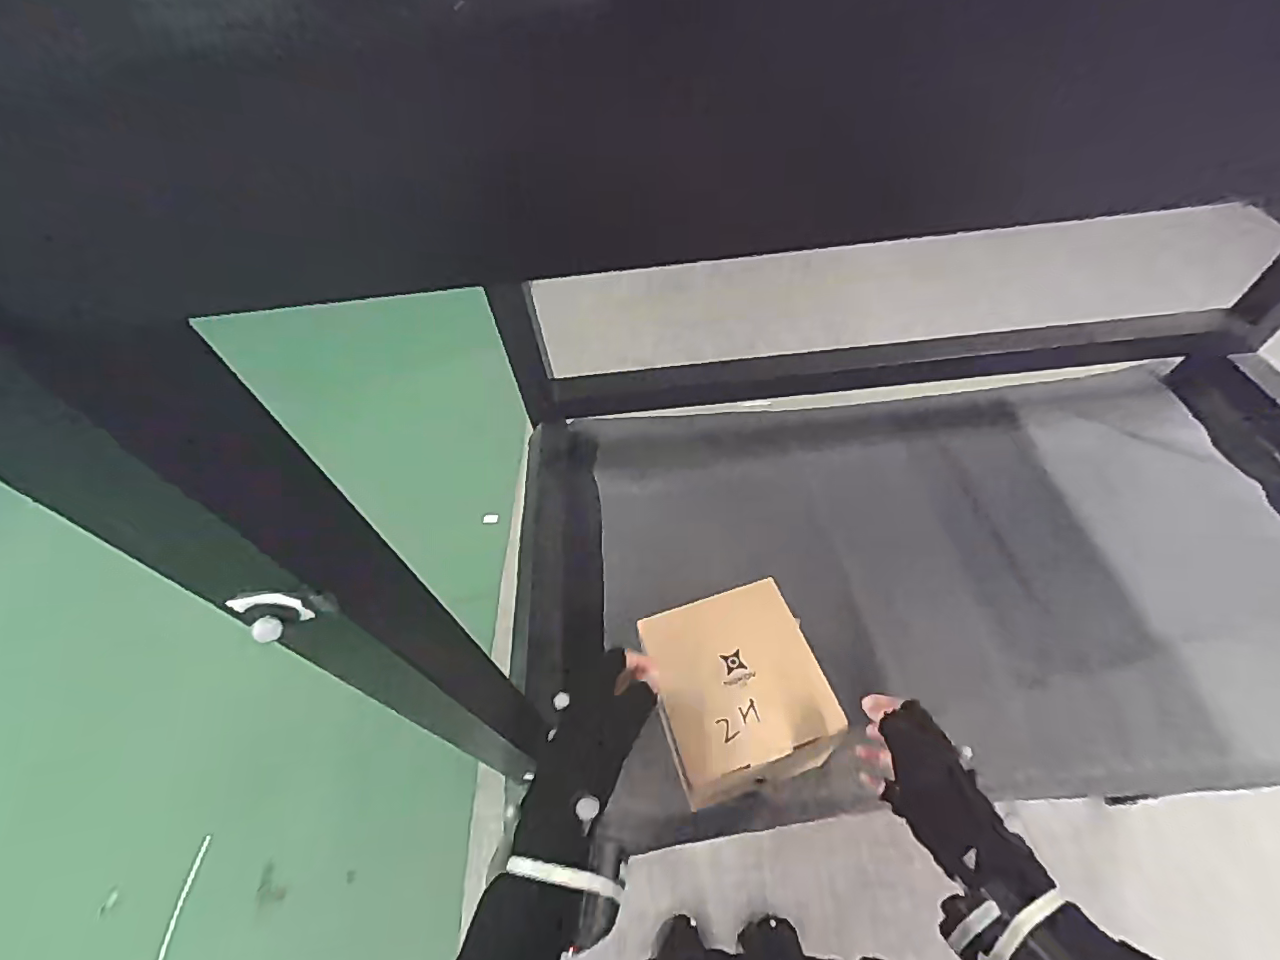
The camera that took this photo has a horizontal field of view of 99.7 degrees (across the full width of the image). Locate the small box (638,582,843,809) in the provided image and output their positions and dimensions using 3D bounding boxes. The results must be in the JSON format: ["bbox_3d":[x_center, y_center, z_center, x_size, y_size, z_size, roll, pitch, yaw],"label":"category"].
[{"bbox_3d":[0.102,0.251,0.626,0.168,0.176,0.179,-16,52,-6],"label":"small box"}]
